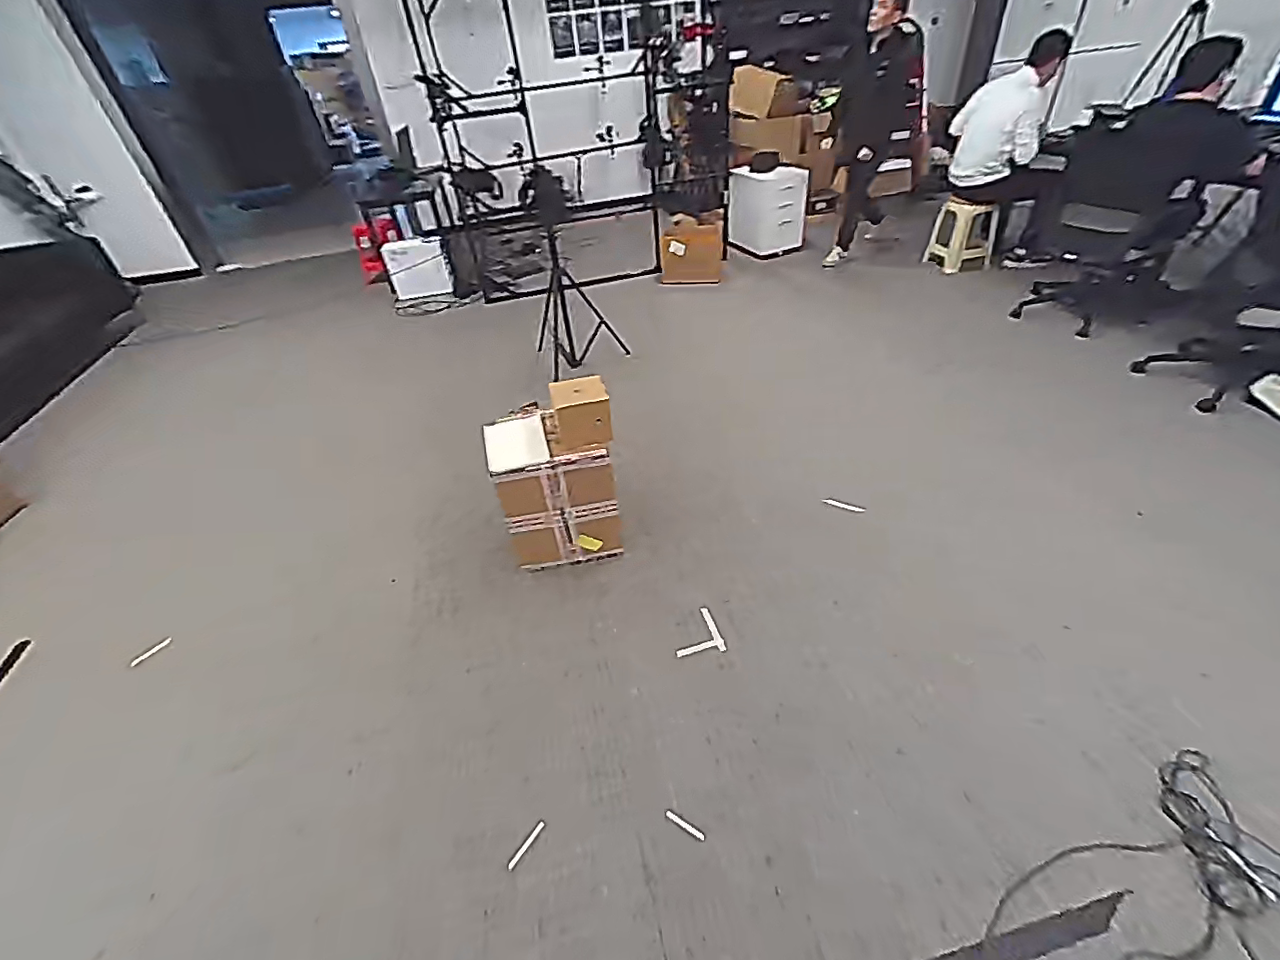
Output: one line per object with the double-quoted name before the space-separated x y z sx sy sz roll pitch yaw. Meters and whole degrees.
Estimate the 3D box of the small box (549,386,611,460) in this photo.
"small box" -0.197 -0.189 1.808 0.179 0.176 0.168 -13 41 -10
